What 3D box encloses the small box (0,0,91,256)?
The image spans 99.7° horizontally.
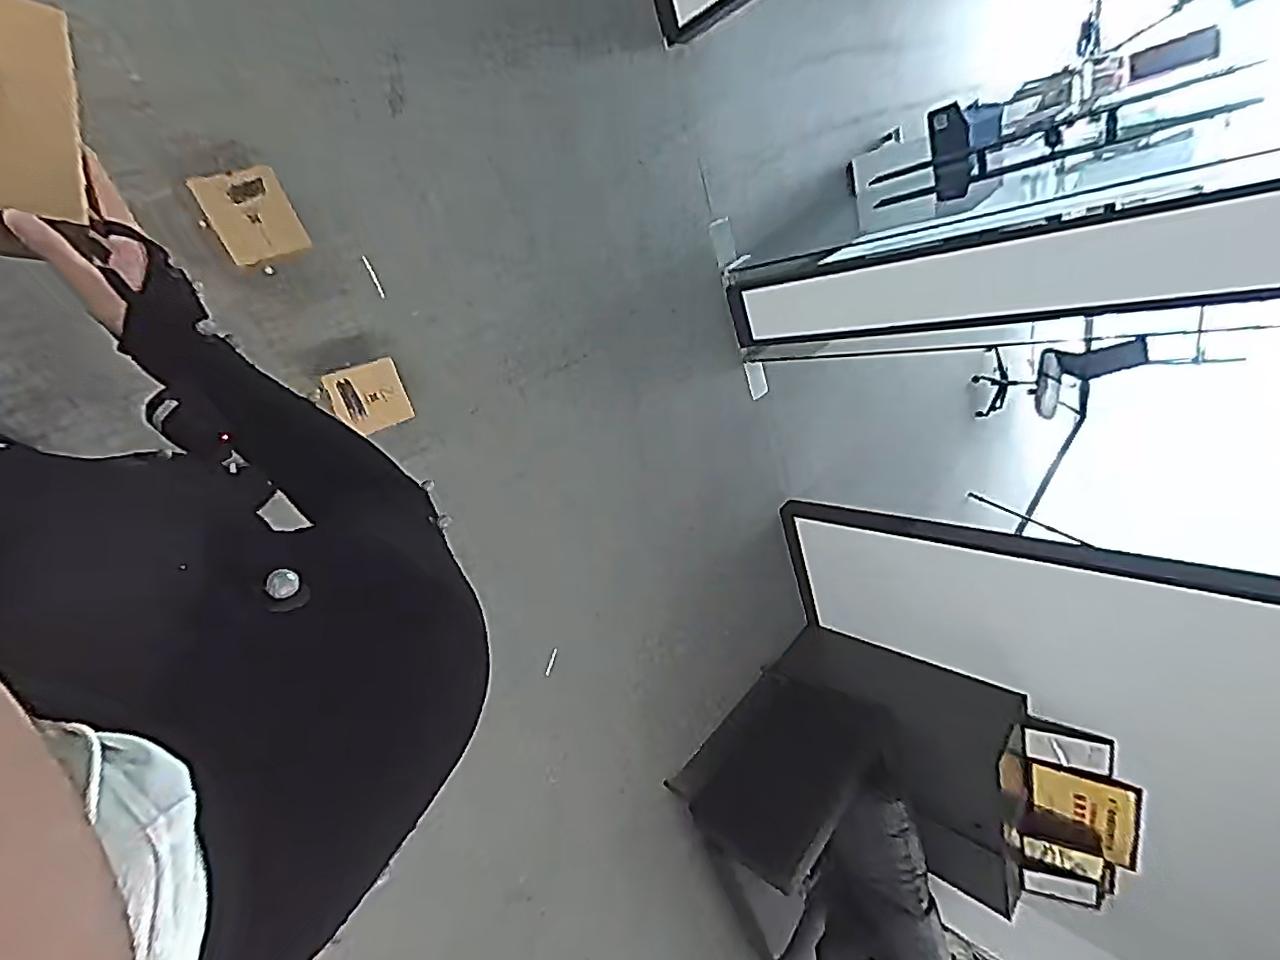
[{"bbox_3d":[-0.576,-0.294,0.434,0.179,0.176,0.168,-7,99,-44],"label":"small box"}]

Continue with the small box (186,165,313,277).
[{"bbox_3d":[-0.892,-0.584,1.230,0.168,0.176,0.179,-37,120,-32],"label":"small box"}]
